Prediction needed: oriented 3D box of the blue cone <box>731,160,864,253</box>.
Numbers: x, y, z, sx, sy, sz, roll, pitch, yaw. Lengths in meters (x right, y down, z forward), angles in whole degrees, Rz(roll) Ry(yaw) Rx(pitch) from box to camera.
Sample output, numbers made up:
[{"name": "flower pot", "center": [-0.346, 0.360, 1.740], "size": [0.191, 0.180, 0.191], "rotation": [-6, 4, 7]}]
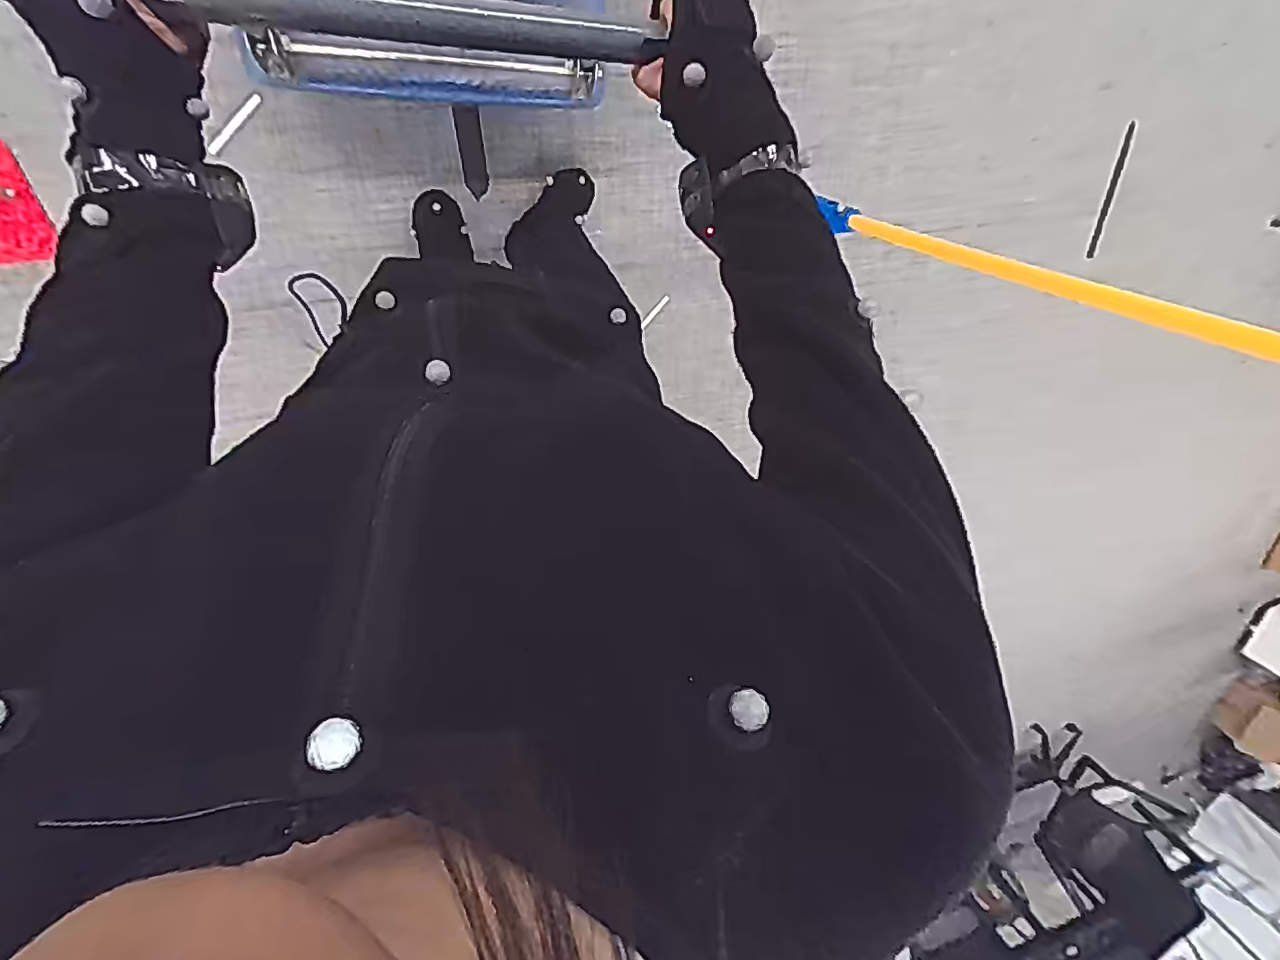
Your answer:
[{"name": "blue cone", "center": [0.364, -0.598, 1.198], "size": [0.193, 0.380, 0.192], "rotation": [-15, 121, -11]}]
